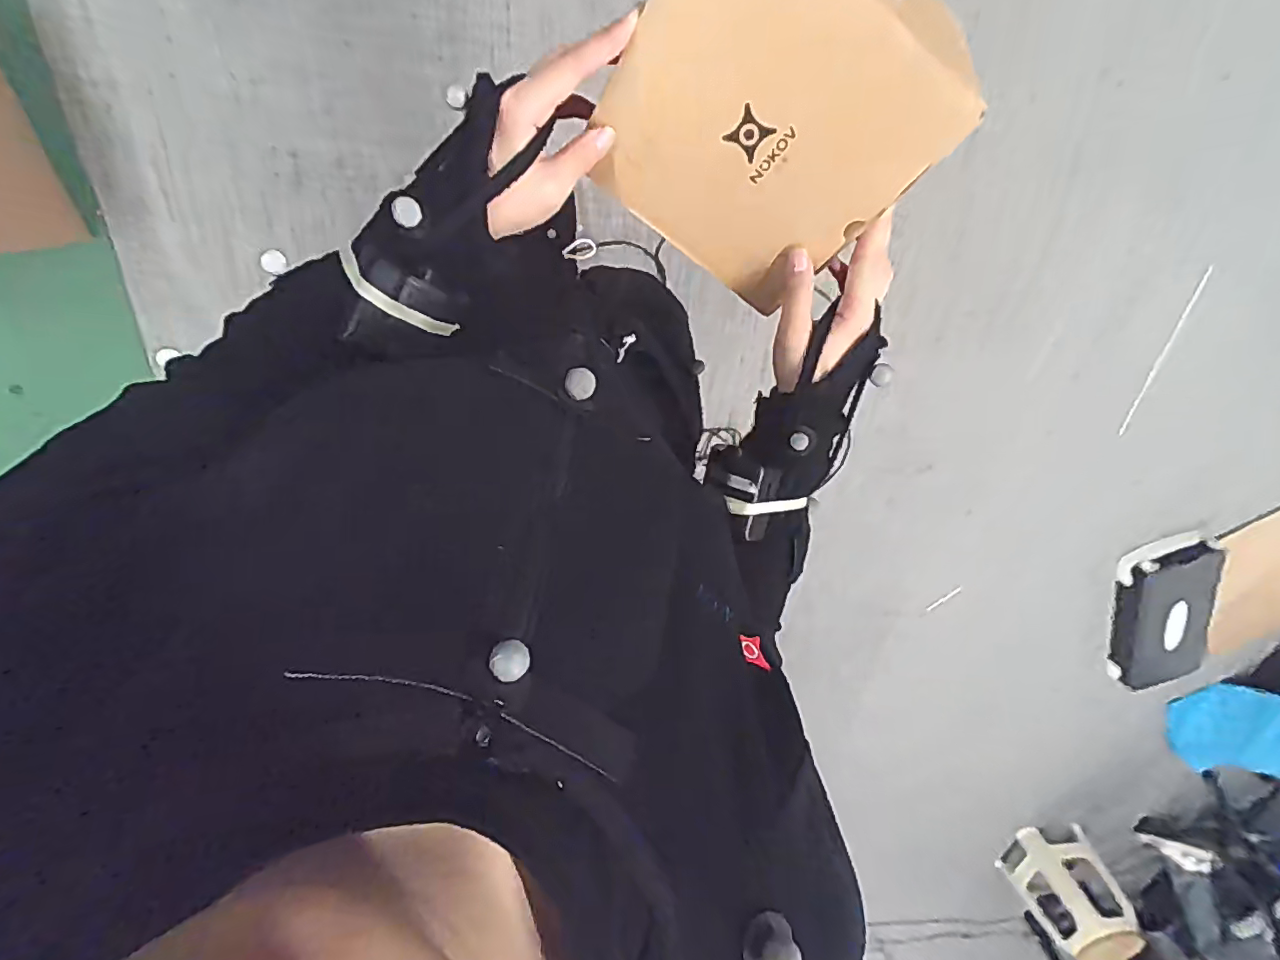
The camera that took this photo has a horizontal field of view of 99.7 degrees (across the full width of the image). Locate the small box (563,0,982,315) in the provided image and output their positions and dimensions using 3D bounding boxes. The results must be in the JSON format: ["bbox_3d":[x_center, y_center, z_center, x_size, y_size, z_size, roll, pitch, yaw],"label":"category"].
[{"bbox_3d":[0.081,-0.255,0.357,0.179,0.176,0.168,31,140,-17],"label":"small box"}]
